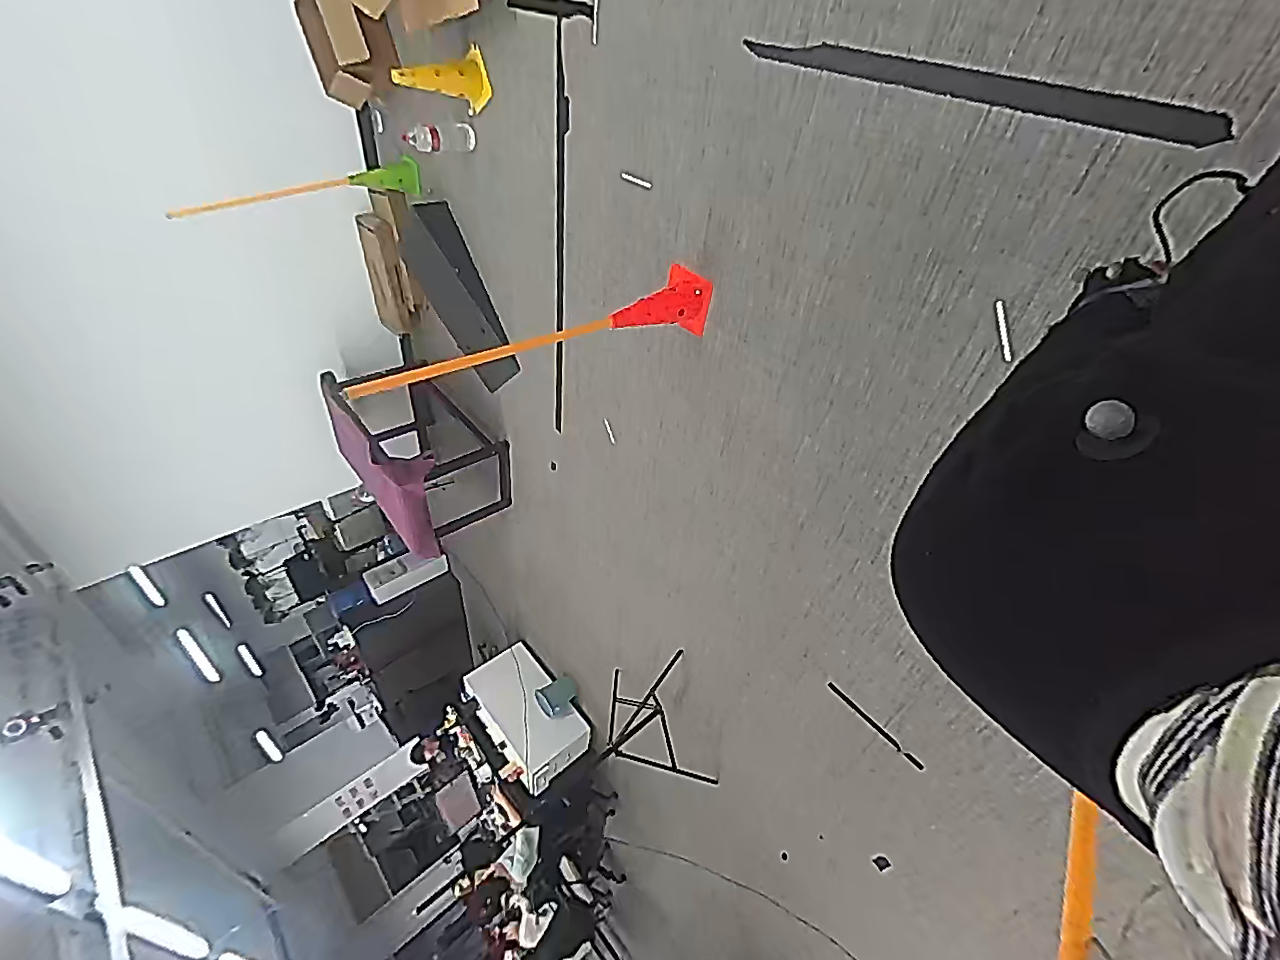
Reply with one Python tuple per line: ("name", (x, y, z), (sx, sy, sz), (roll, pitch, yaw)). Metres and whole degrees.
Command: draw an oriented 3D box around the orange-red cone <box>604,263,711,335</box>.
("orange-red cone", (0.030, -0.567, 1.792), (0.199, 0.360, 0.198), (43, 141, 28))
